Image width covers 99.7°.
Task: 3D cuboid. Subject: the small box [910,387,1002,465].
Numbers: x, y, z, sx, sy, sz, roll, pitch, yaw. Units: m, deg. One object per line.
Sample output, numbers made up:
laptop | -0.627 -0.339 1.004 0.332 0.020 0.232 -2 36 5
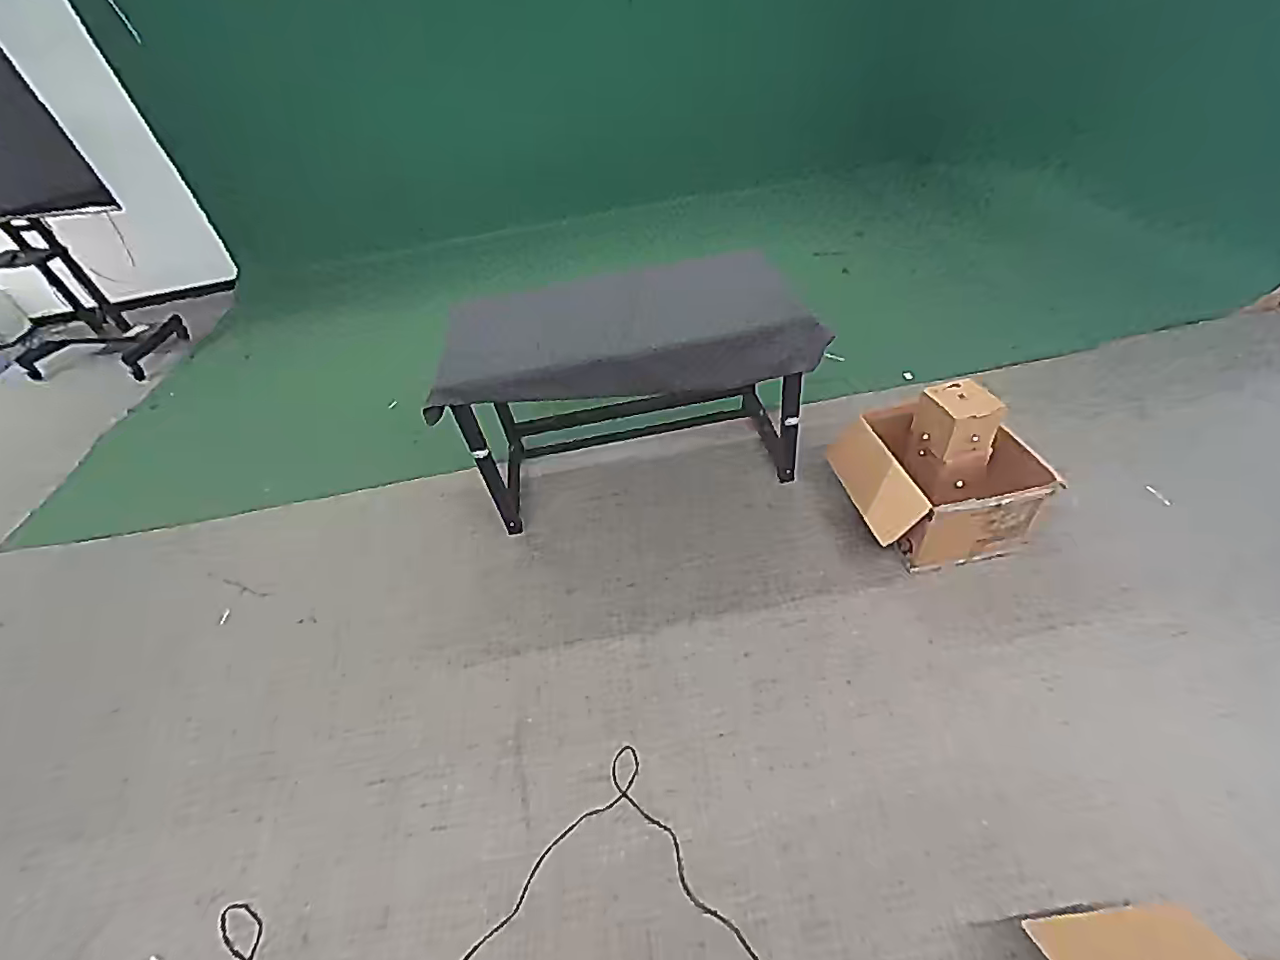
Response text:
small box | 1.000 -0.164 1.725 0.168 0.176 0.179 -16 43 -6
